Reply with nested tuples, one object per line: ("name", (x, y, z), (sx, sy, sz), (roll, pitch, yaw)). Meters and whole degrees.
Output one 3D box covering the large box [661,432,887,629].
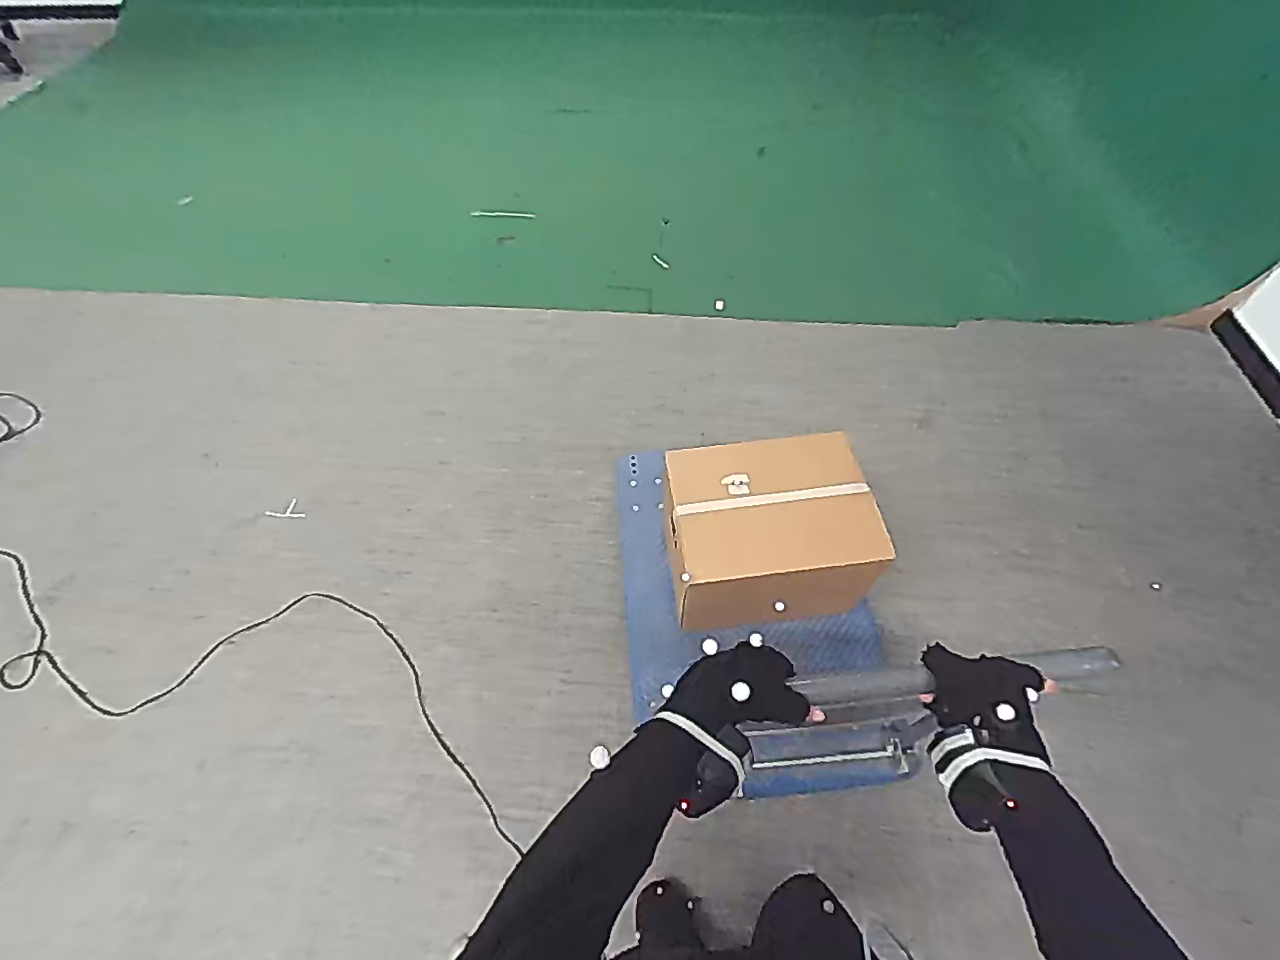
("large box", (0.270, 0.126, 1.238), (0.408, 0.320, 0.320), (-7, 57, -3))
